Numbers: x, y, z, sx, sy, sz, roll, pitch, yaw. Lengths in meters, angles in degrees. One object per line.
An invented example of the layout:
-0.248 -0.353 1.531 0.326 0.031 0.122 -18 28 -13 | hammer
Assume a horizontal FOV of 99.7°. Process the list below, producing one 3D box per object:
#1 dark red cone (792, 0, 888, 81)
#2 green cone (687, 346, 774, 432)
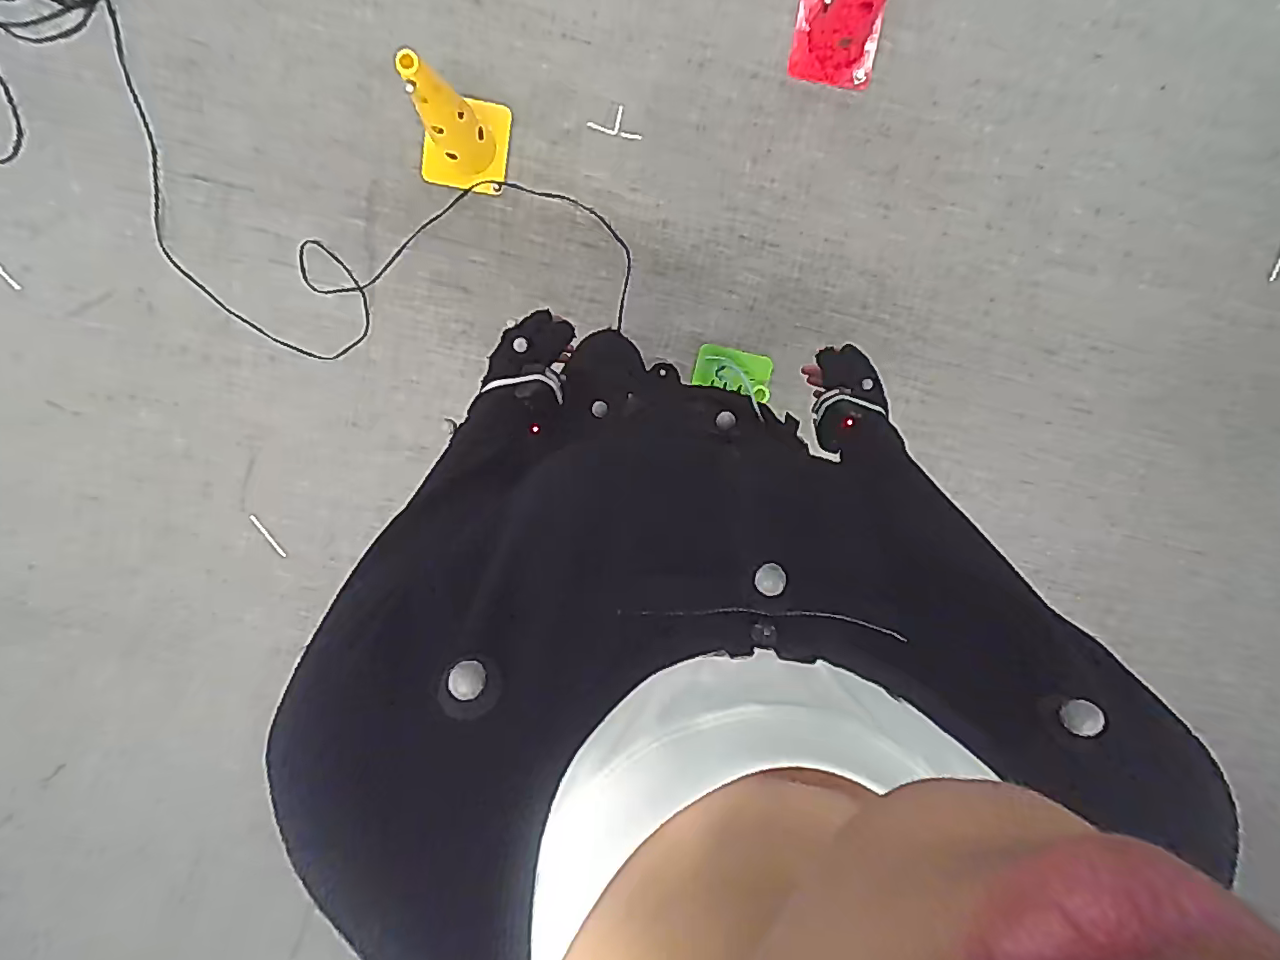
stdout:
0.460 -1.007 1.083 0.202 0.394 0.201 7 100 -2 | dark red cone
0.238 -0.209 1.261 0.202 0.368 0.200 11 100 -2 | green cone
